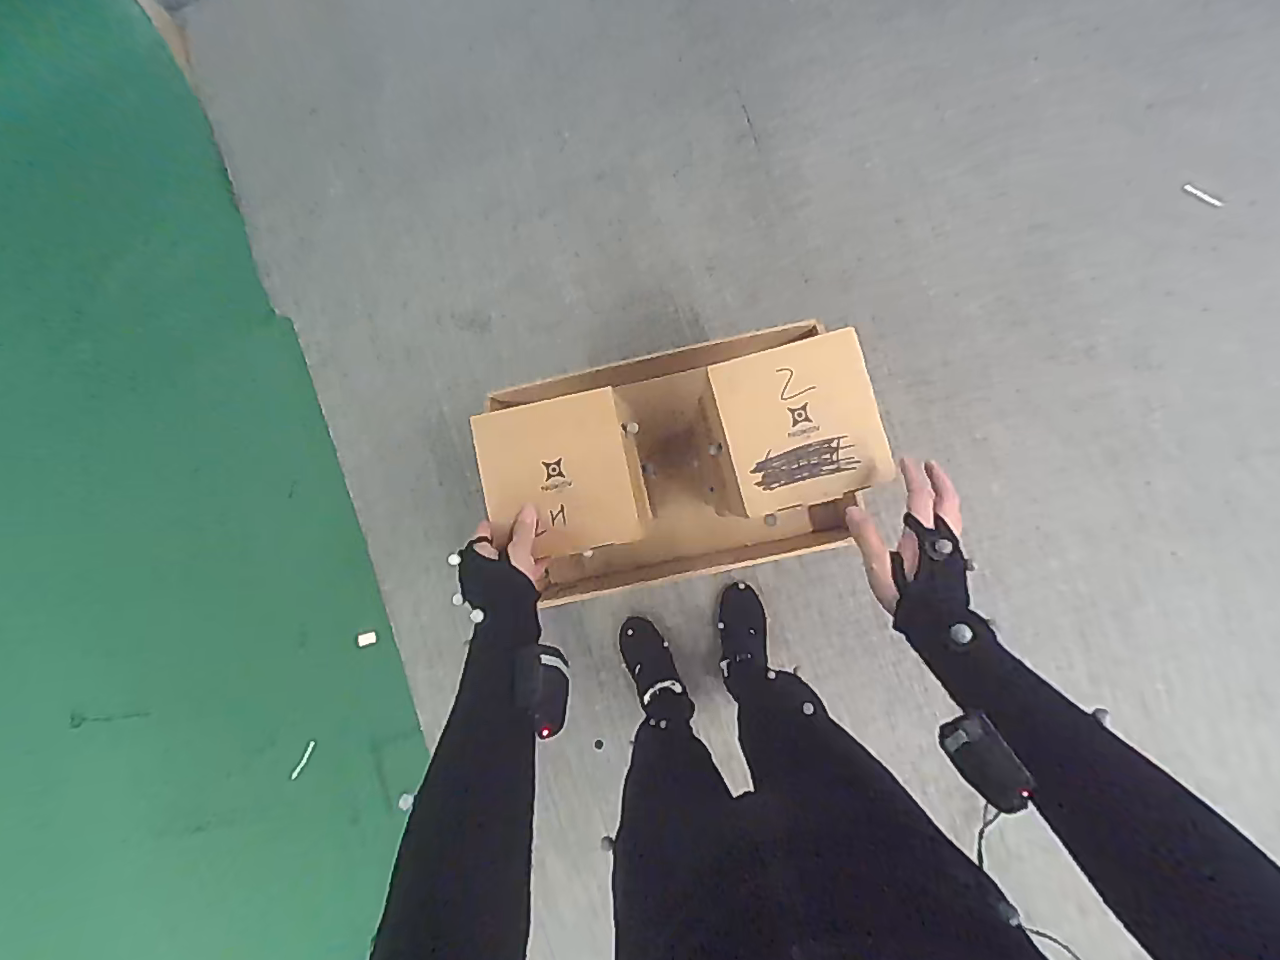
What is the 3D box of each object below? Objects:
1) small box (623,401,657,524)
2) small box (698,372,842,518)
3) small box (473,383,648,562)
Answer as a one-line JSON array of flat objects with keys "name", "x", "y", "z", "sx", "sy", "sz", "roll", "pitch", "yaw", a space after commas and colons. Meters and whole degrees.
[{"name": "small box", "x": -0.071, "y": -0.009, "z": 0.833, "sx": 0.168, "sy": 0.176, "sz": 0.179, "roll": -11, "pitch": 88, "yaw": 4}, {"name": "small box", "x": 0.184, "y": -0.046, "z": 0.813, "sx": 0.168, "sy": 0.176, "sz": 0.179, "roll": -11, "pitch": 87, "yaw": 3}, {"name": "small box", "x": -0.087, "y": -0.005, "z": 0.670, "sx": 0.168, "sy": 0.176, "sz": 0.179, "roll": -11, "pitch": 88, "yaw": 4}]
